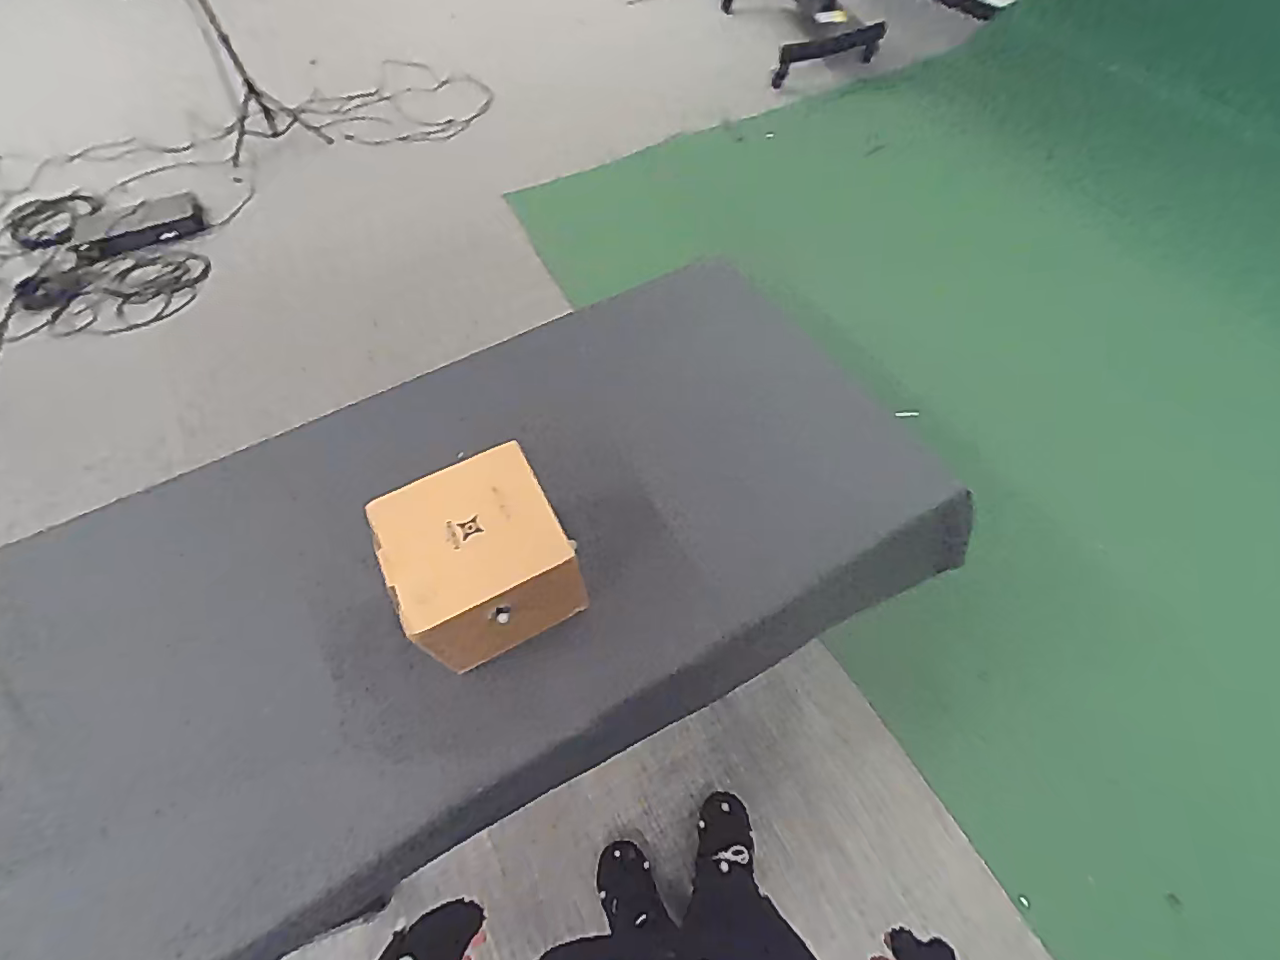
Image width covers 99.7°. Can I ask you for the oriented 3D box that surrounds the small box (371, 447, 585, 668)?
[{"bbox_3d":[-0.181,0.098,0.641,0.179,0.176,0.168,-26,62,-15],"label":"small box"}]
